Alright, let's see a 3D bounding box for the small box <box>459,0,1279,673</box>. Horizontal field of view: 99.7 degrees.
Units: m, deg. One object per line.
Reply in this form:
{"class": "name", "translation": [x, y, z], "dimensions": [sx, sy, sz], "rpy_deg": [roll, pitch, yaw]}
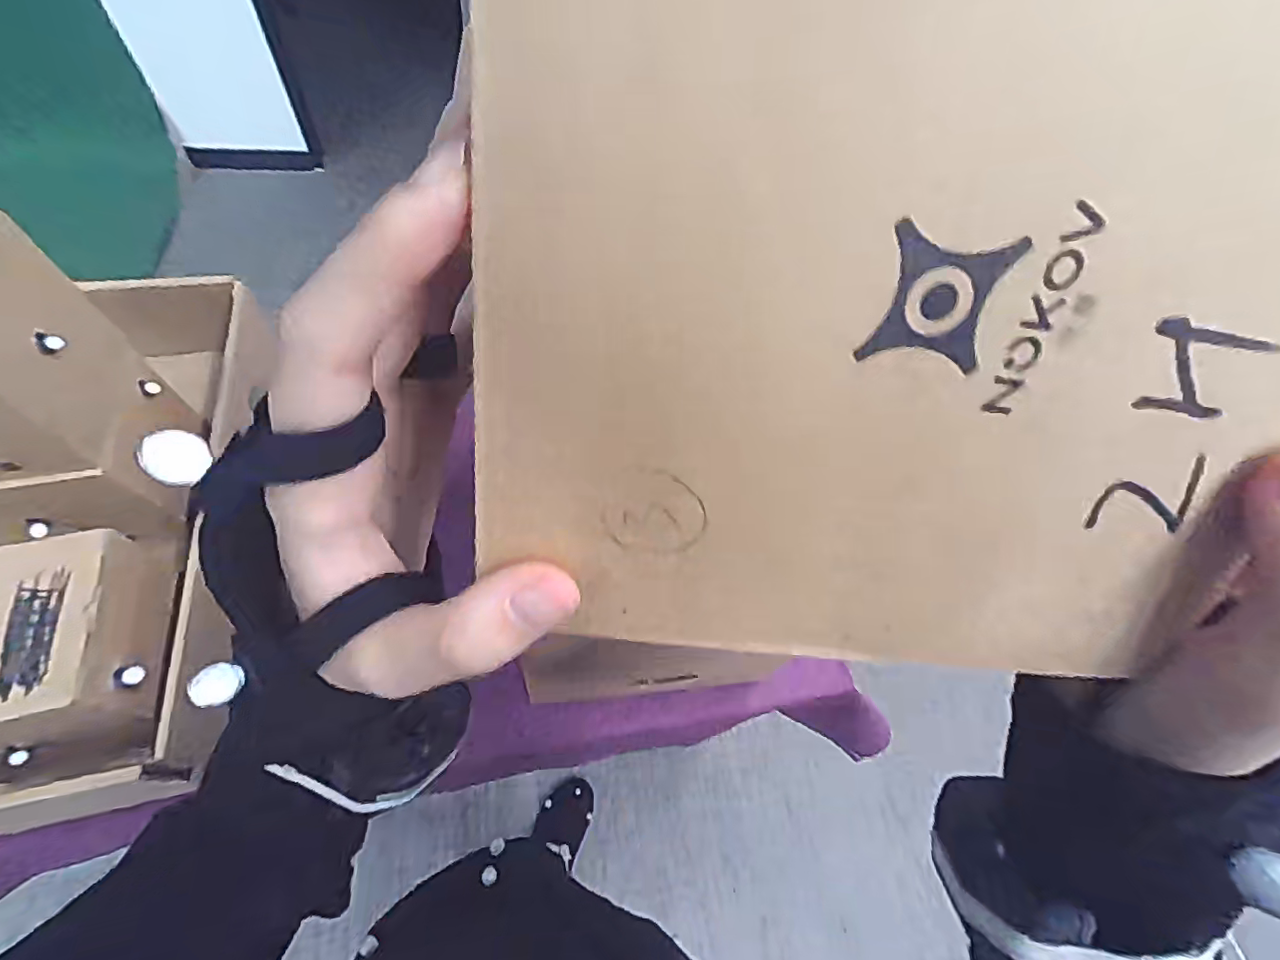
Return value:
{"class": "small box", "translation": [0.054, -0.068, 0.173], "dimensions": [0.179, 0.168, 0.176], "rpy_deg": [7, 29, -5]}

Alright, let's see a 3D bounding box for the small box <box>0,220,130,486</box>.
{"class": "small box", "translation": [-0.630, -0.108, 0.498], "dimensions": [0.168, 0.176, 0.179], "rpy_deg": [-9, 63, -12]}

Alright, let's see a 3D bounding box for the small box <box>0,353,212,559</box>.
{"class": "small box", "translation": [-0.646, -0.020, 0.636], "dimensions": [0.168, 0.176, 0.179], "rpy_deg": [-10, 62, -13]}
